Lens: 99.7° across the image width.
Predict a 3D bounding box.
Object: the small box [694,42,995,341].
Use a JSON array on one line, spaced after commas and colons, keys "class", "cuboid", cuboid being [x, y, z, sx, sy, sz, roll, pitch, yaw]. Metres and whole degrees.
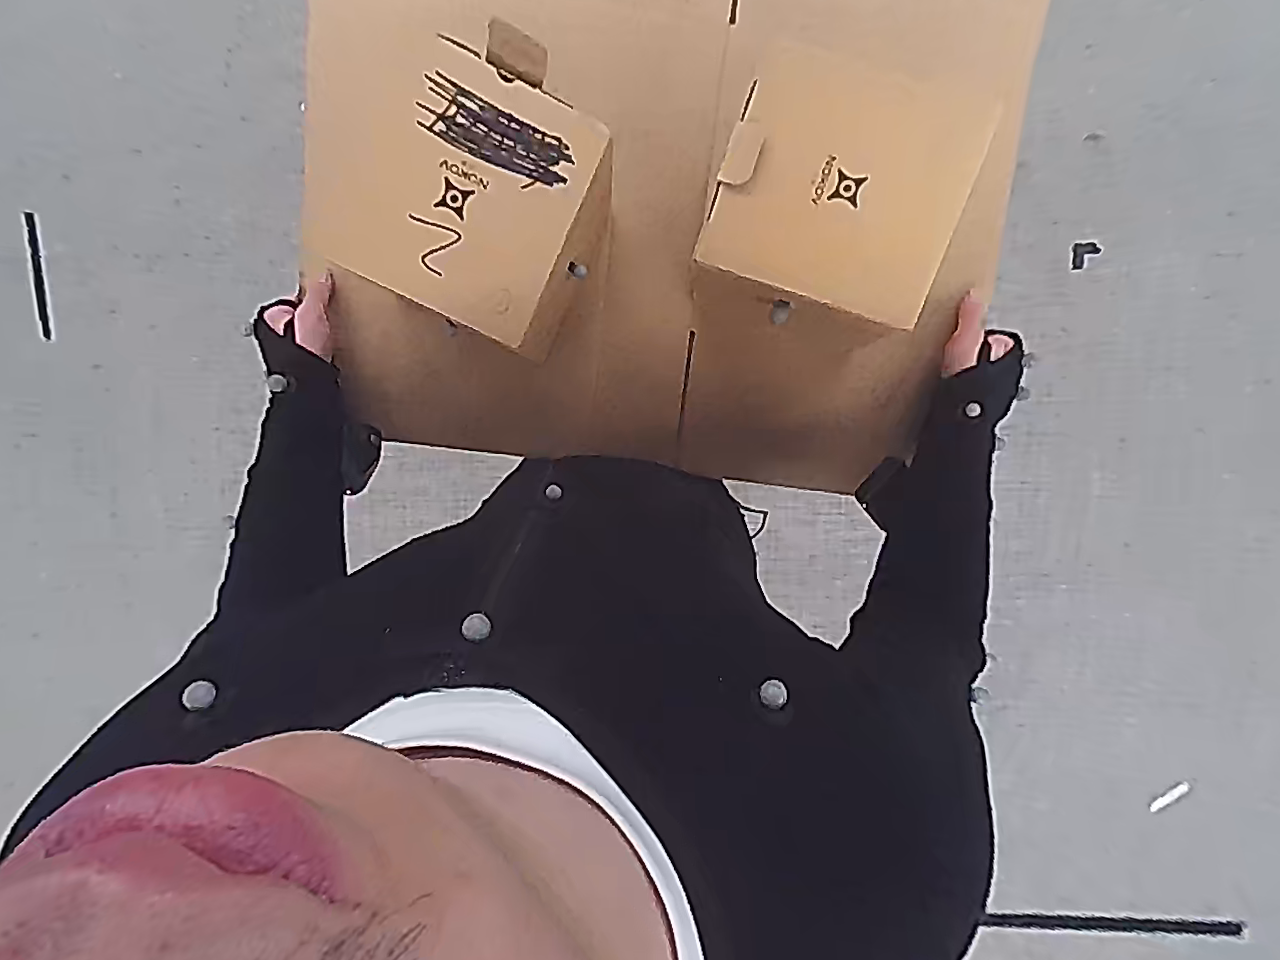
[{"class": "small box", "cuboid": [0.160, -0.232, 0.486, 0.179, 0.176, 0.168, 20, 100, 5]}]
